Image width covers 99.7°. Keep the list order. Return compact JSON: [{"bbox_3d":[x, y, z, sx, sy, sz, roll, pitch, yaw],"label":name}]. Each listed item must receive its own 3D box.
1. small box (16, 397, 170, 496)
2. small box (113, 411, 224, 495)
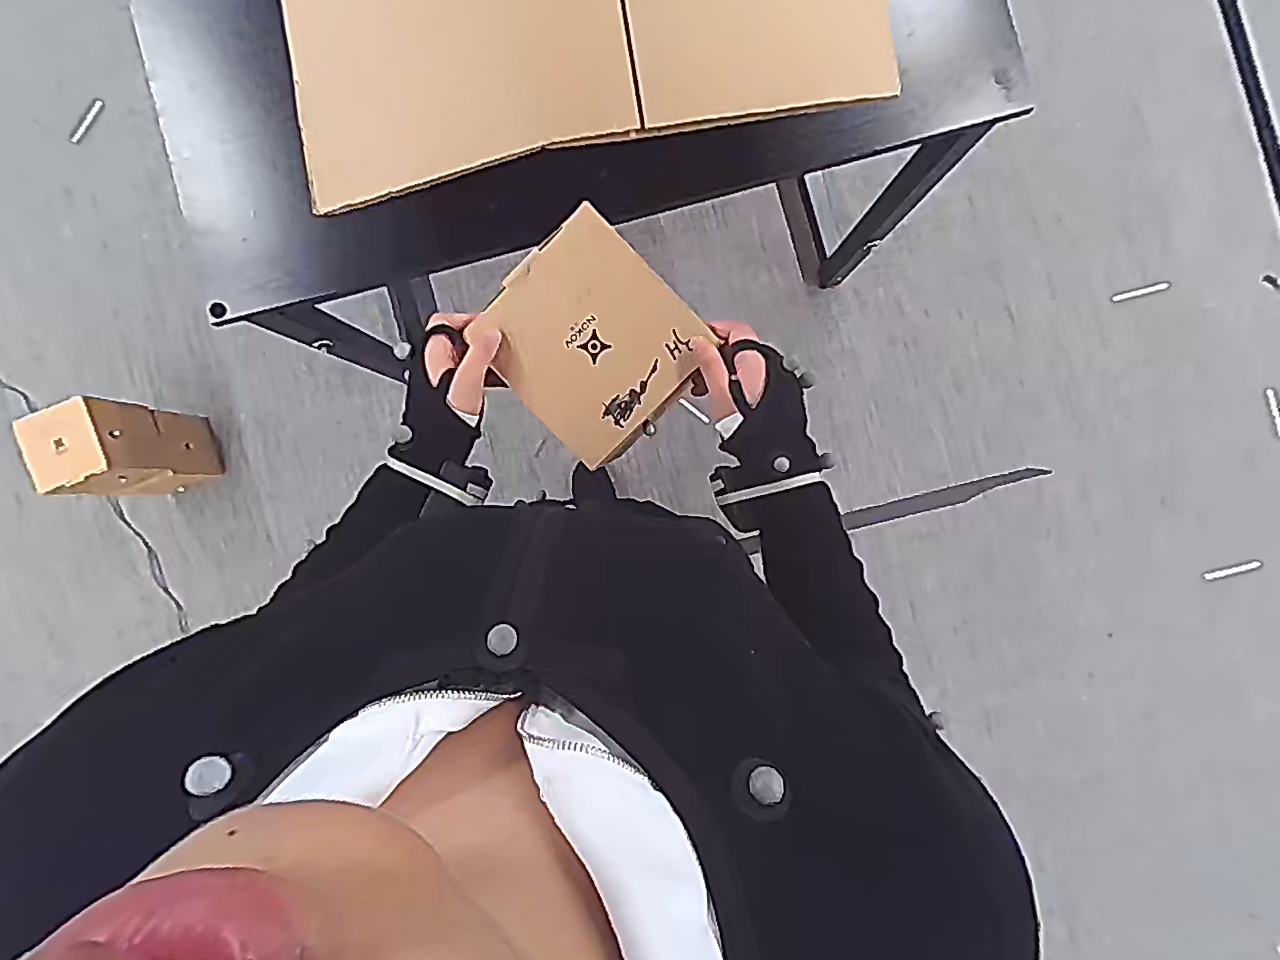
[{"bbox_3d":[-1.263,-0.073,1.265,0.168,0.176,0.179,-22,88,-1],"label":"small box"},{"bbox_3d":[-1.258,-0.067,1.427,0.168,0.176,0.179,-19,90,1],"label":"small box"}]
